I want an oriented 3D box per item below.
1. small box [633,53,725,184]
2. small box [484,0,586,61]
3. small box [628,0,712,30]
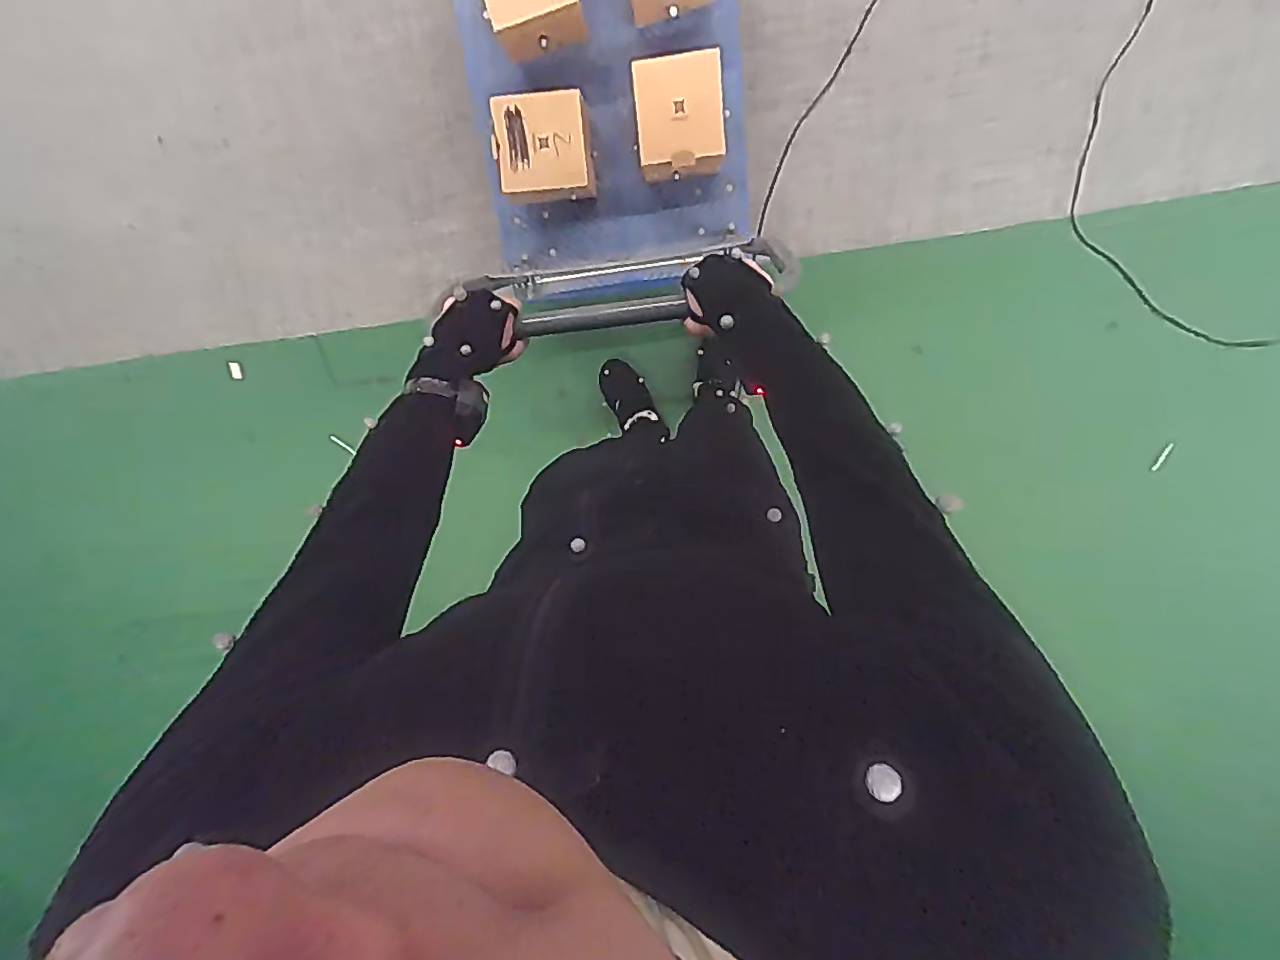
[{"bbox_3d":[0.078,-0.725,1.102,0.168,0.176,0.179,-6,110,5],"label":"small box"},{"bbox_3d":[-0.209,-0.941,1.031,0.168,0.176,0.179,-14,109,6],"label":"small box"},{"bbox_3d":[0.045,-0.992,1.002,0.168,0.176,0.179,-13,110,7],"label":"small box"}]
